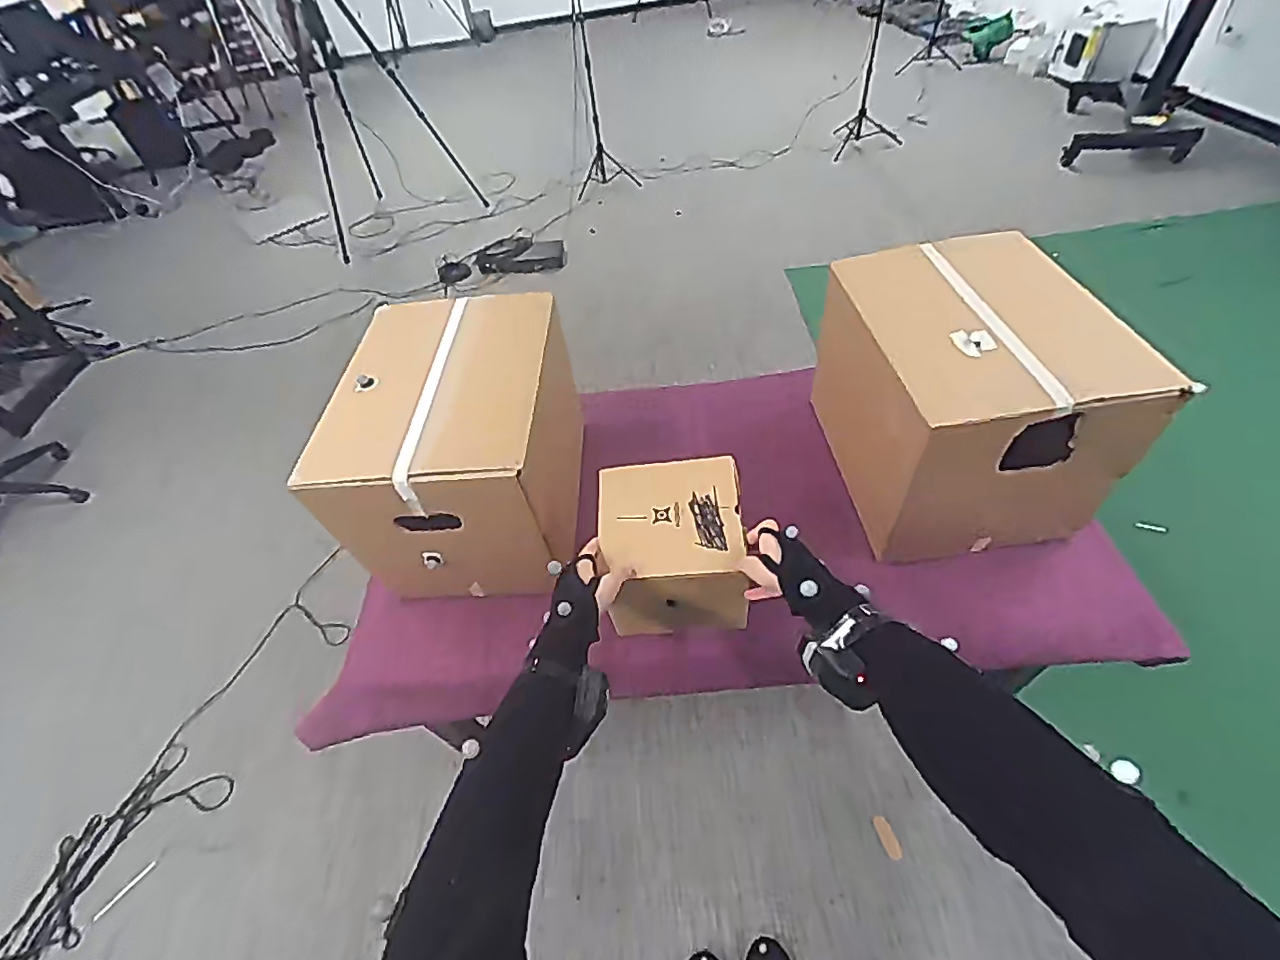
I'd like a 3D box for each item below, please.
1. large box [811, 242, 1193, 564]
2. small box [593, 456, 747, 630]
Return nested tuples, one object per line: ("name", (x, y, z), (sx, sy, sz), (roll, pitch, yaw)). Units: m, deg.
("large box", (0.501, -0.127, 0.880), (0.320, 0.320, 0.408), (-9, 50, 3))
("small box", (0.043, 0.089, 0.716), (0.179, 0.176, 0.168), (-5, 52, 7))
